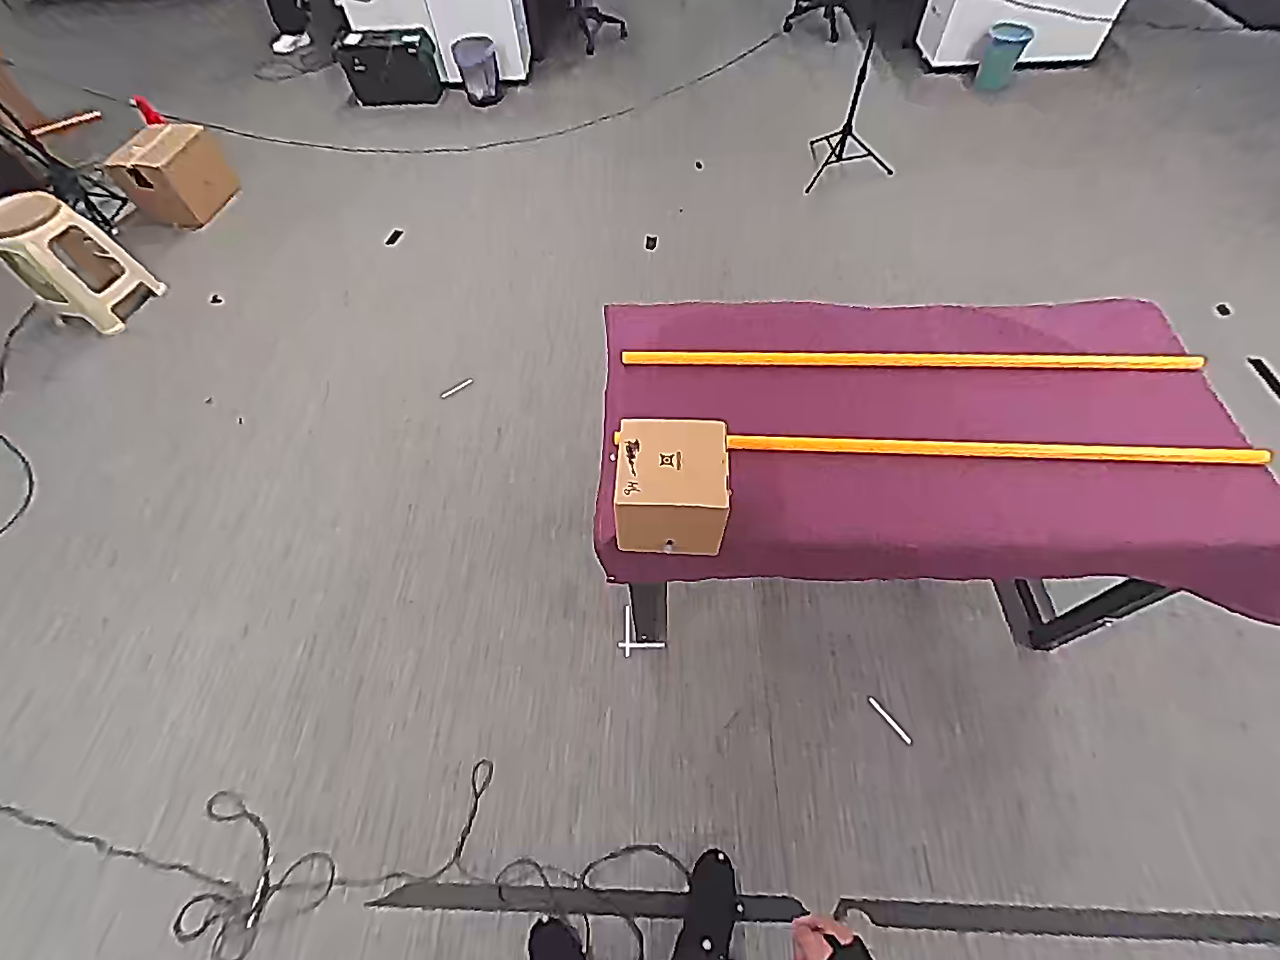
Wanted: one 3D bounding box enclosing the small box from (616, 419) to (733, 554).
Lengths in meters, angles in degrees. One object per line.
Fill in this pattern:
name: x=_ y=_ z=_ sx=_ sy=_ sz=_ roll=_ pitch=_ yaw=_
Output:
small box: x=0.056 y=0.016 z=0.913 sx=0.179 sy=0.176 sz=0.168 roll=3 pitch=58 yaw=2
